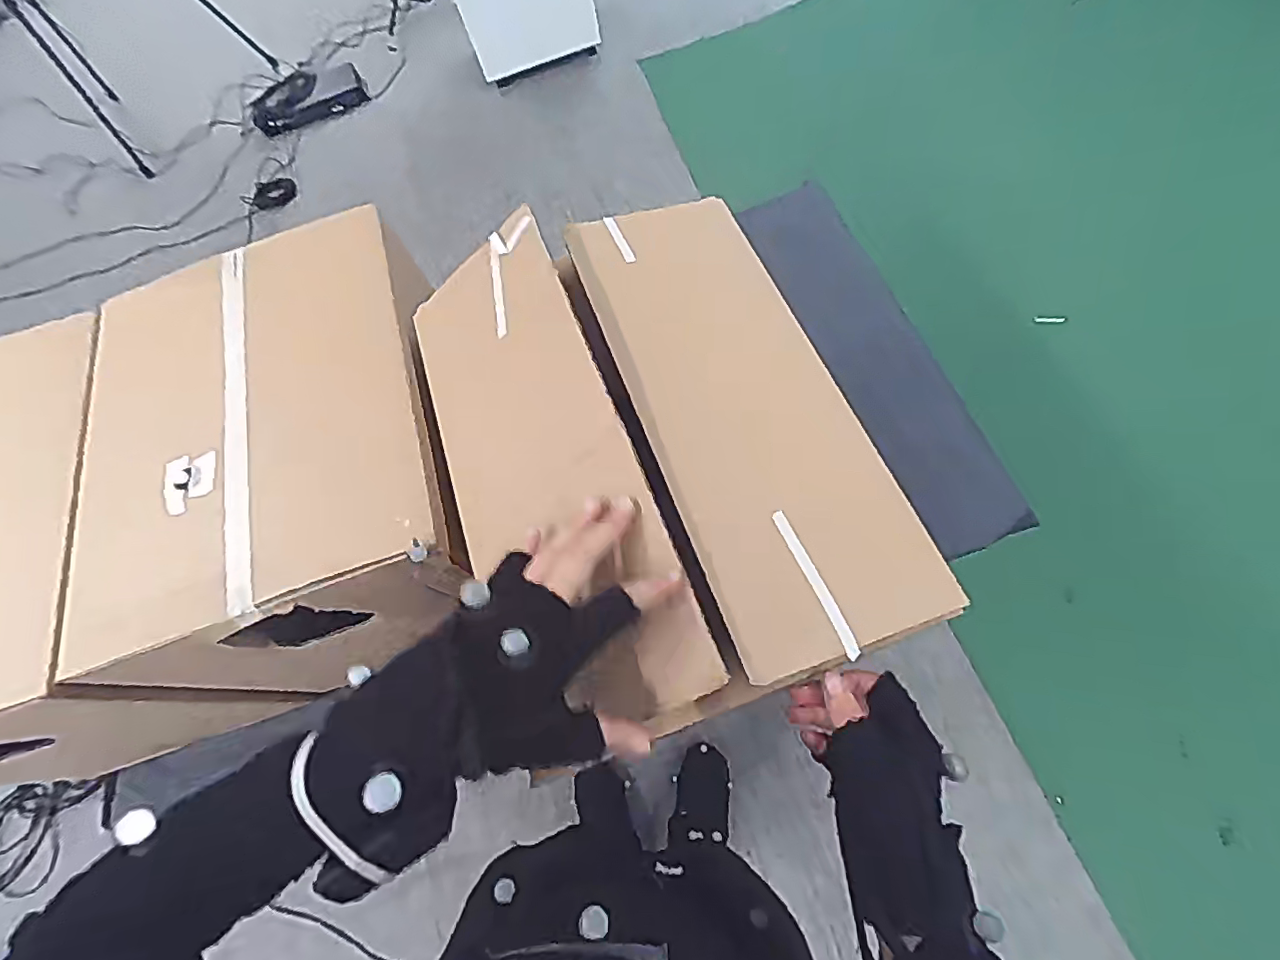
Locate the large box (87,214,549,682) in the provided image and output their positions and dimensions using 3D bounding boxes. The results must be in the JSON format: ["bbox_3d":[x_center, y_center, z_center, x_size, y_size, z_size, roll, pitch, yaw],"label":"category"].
[{"bbox_3d":[-0.337,-0.014,0.640,0.320,0.320,0.408,-20,67,1],"label":"large box"}]
